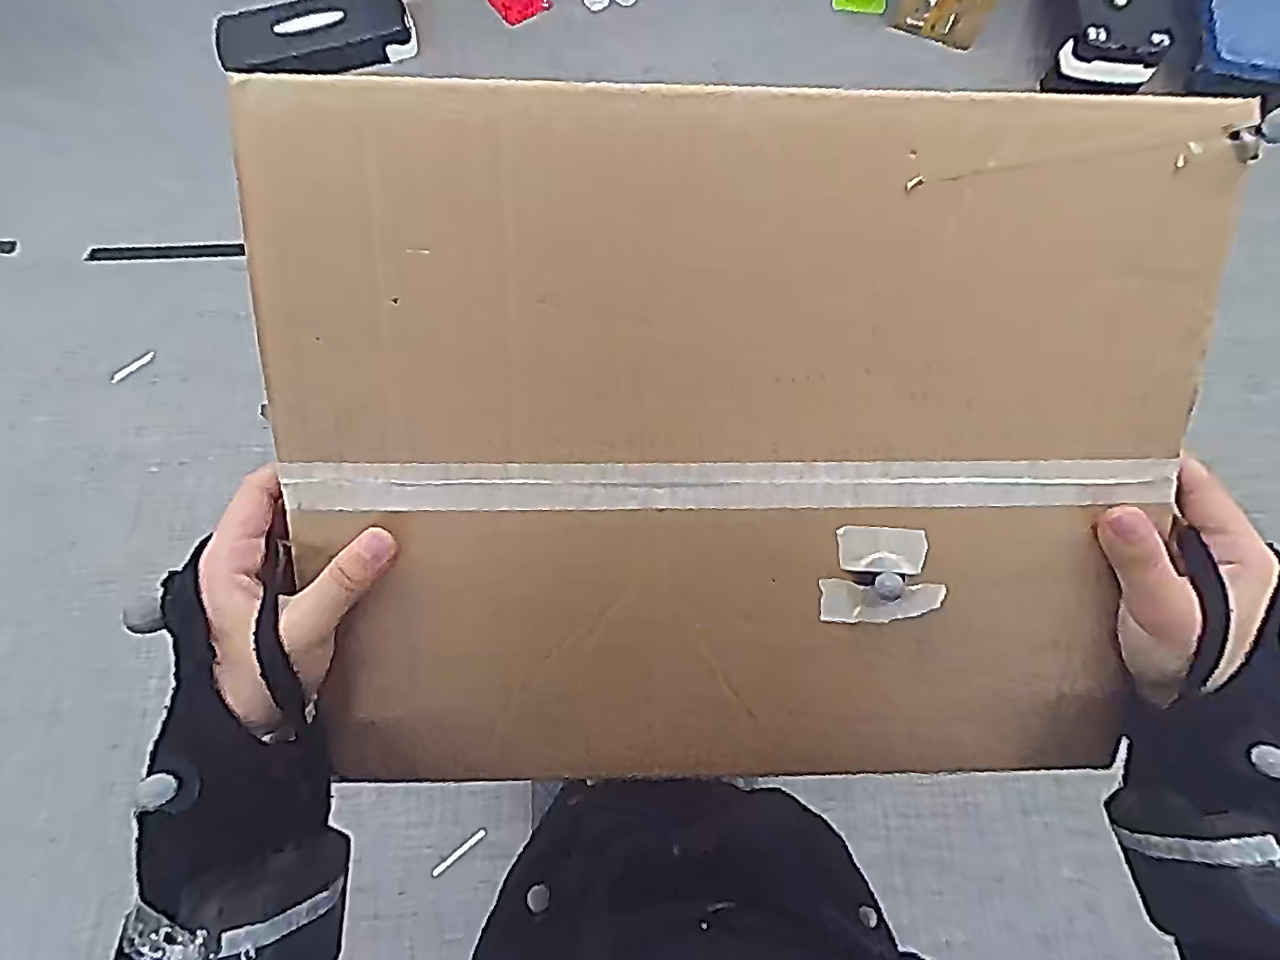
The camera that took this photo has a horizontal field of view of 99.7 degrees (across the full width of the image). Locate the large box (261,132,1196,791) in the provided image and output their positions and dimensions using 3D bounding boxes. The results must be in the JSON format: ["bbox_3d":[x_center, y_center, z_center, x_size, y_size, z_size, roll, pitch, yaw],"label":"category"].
[{"bbox_3d":[0.037,-0.024,0.401,0.408,0.320,0.320,-1,104,-3],"label":"large box"}]
